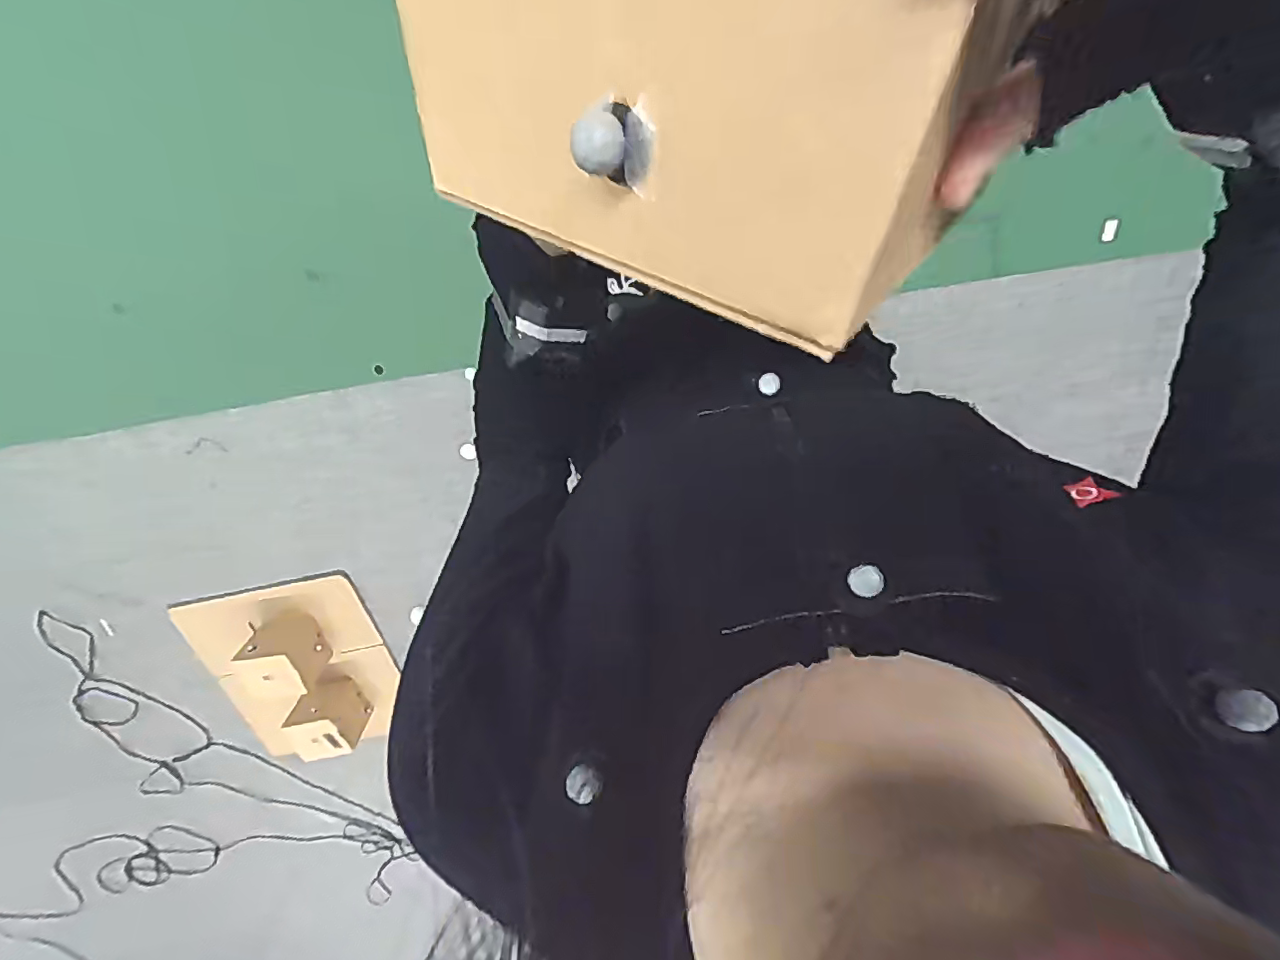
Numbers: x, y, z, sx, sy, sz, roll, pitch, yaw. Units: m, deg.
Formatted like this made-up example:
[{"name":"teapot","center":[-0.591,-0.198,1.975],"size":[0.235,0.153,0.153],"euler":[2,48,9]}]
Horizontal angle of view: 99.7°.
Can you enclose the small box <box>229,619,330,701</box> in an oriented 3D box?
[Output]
[{"name":"small box","center":[-1.114,0.557,1.687],"size":[0.179,0.176,0.168],"euler":[-8,116,1]}]

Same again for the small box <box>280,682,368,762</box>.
[{"name":"small box","center":[-1.040,0.801,1.802],"size":[0.179,0.176,0.168],"euler":[-13,115,5]}]
